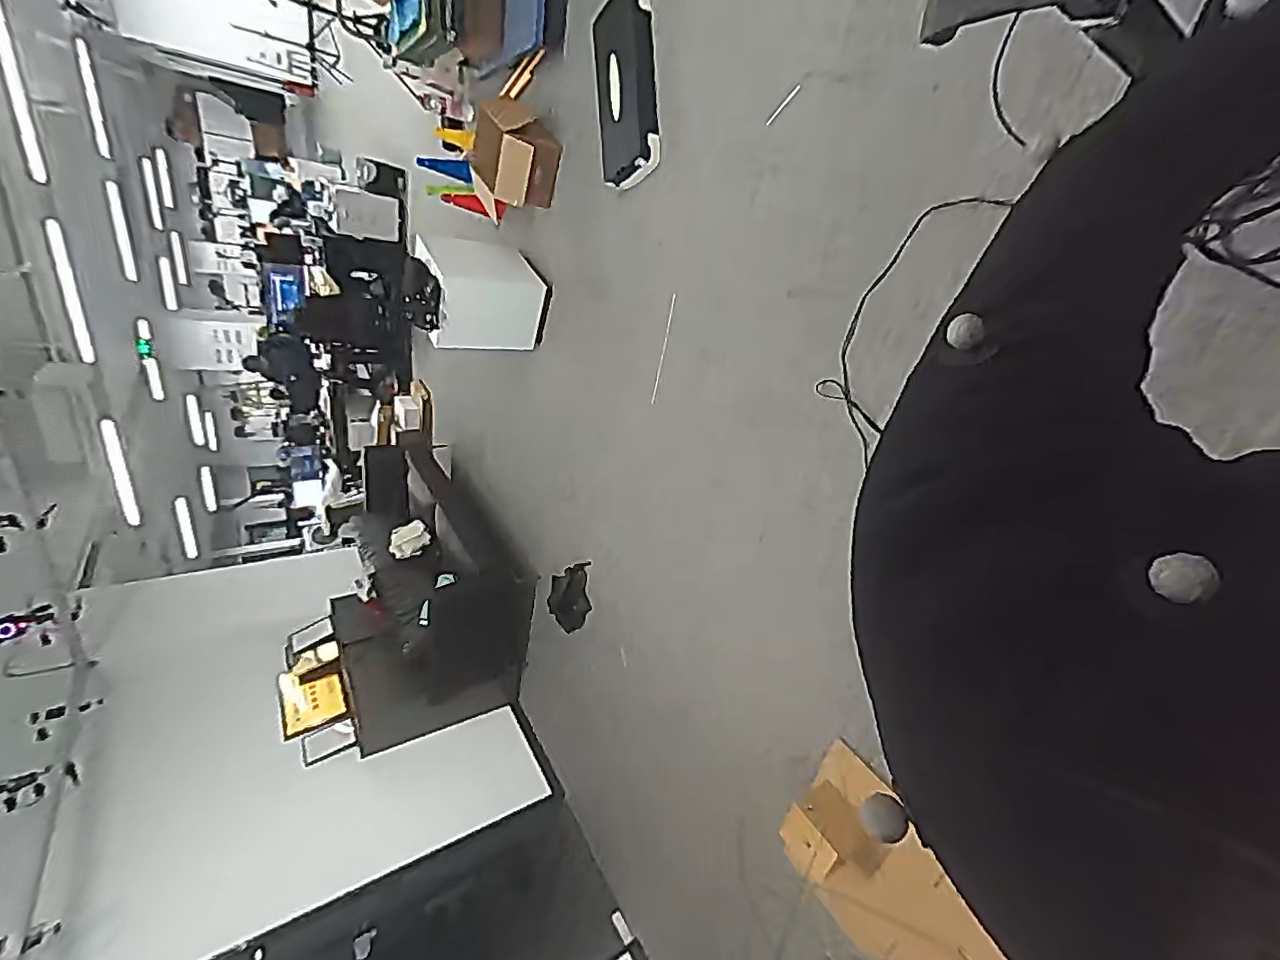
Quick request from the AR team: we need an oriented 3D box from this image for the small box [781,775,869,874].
[{"bbox_3d":[0.580,1.070,1.694,0.179,0.176,0.168,42,129,45],"label":"small box"}]
